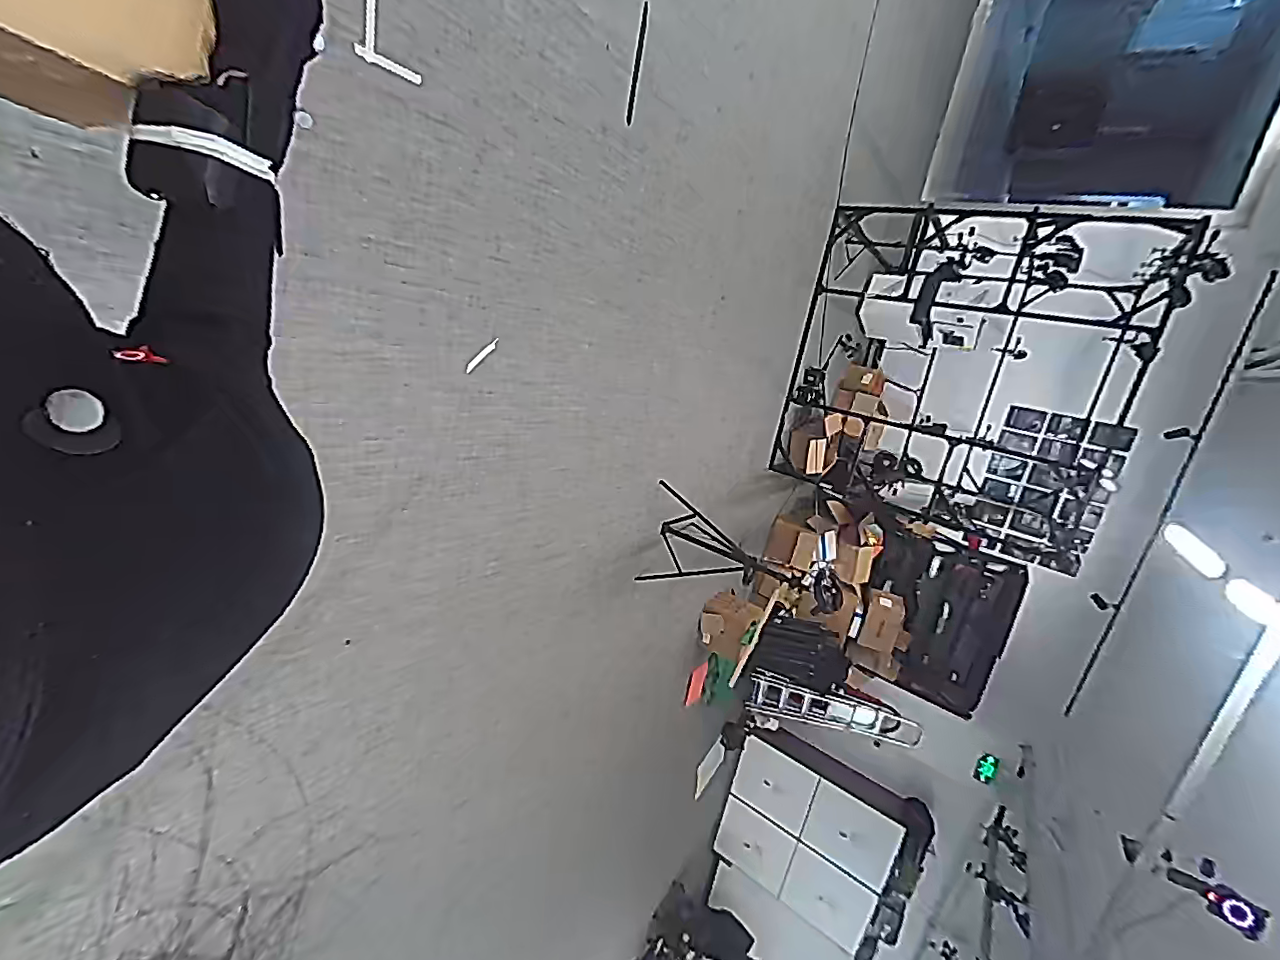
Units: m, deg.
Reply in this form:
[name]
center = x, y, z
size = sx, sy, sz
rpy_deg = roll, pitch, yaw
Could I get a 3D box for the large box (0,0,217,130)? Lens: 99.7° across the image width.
[large box]
center = -0.507, -0.443, 0.275
size = 0.408, 0.320, 0.320
rpy_deg = -1, 110, -58
